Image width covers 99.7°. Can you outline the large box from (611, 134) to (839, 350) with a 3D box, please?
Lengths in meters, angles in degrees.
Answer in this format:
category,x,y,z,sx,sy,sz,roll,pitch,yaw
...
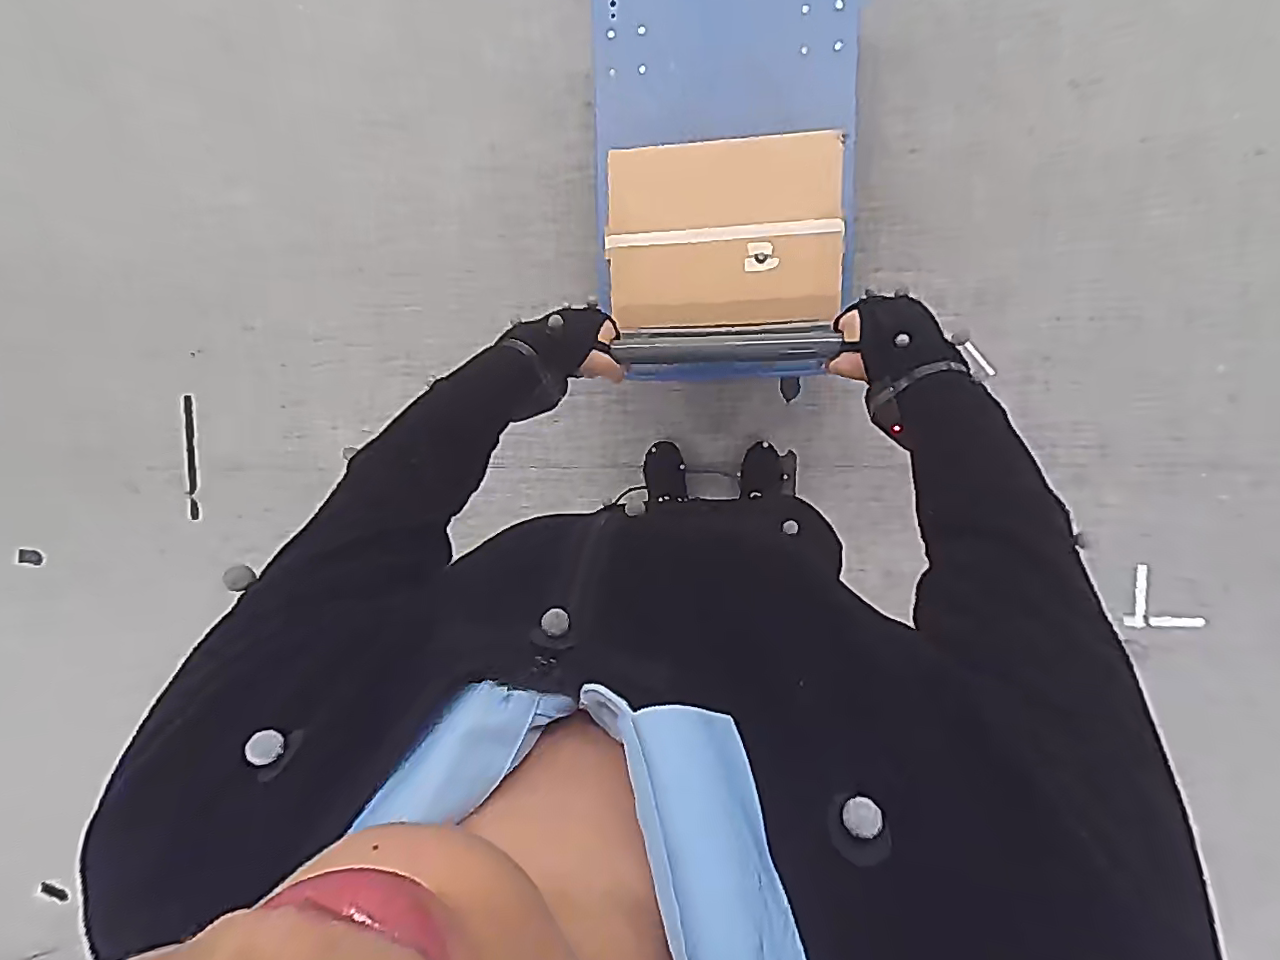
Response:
category,x,y,z,sx,sy,sz,roll,pitch,yaw
large box,0.166,-0.452,1.112,0.408,0.320,0.320,-1,97,8
